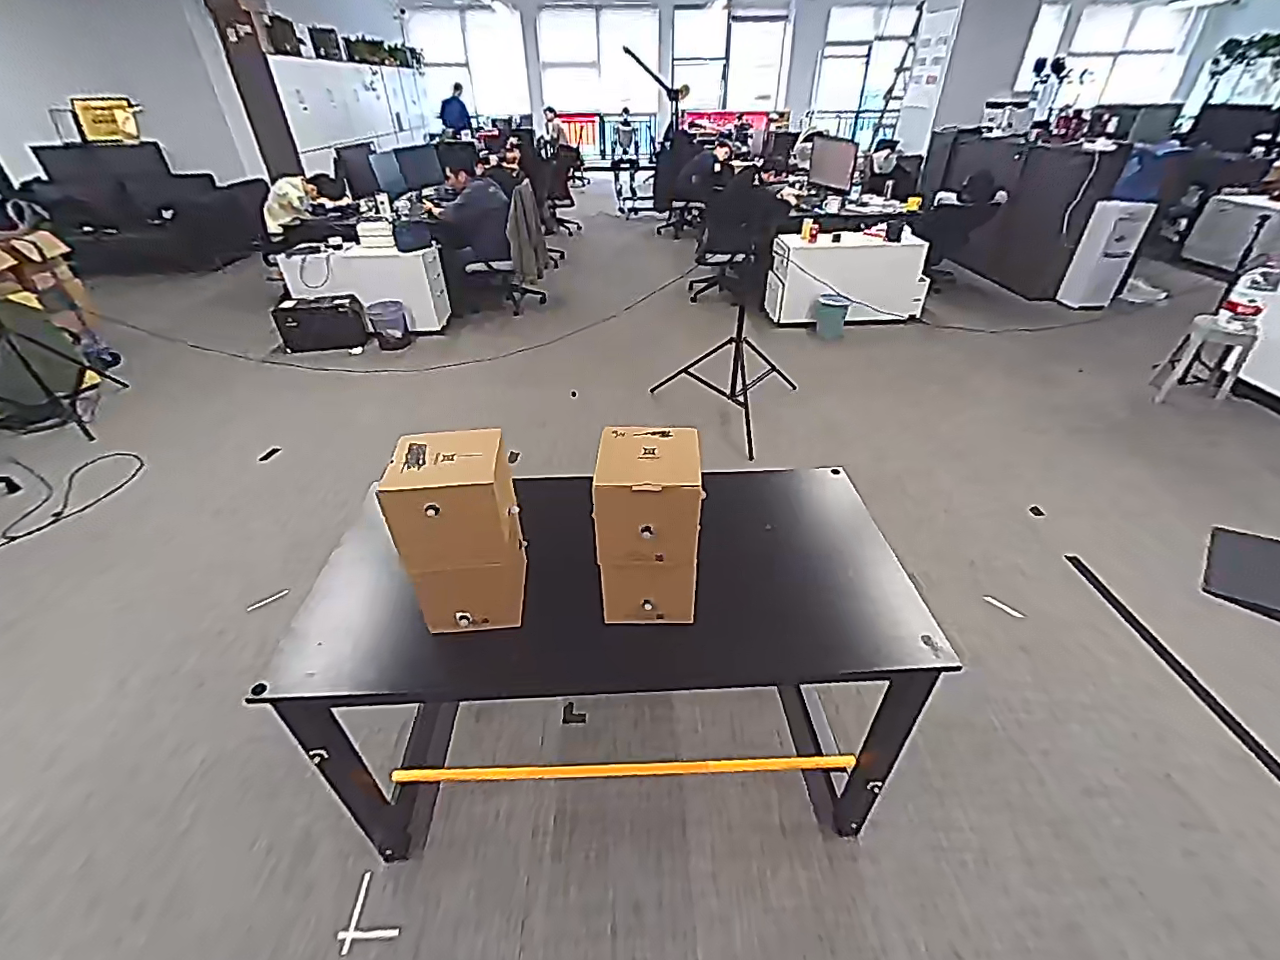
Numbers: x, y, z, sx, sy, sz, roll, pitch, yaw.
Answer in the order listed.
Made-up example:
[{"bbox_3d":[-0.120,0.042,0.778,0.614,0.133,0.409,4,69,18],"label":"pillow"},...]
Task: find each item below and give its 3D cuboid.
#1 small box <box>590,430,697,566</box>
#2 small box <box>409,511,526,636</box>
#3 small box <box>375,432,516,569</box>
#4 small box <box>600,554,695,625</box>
[{"bbox_3d":[0.013,0.030,0.920,0.168,0.176,0.179,1,36,3],"label":"small box"},{"bbox_3d":[-0.312,0.168,1.020,0.168,0.176,0.179,-5,37,-4],"label":"small box"},{"bbox_3d":[-0.317,0.036,0.922,0.179,0.176,0.168,-5,36,-5],"label":"small box"},{"bbox_3d":[0.014,0.152,1.031,0.168,0.176,0.179,0,36,1],"label":"small box"}]
